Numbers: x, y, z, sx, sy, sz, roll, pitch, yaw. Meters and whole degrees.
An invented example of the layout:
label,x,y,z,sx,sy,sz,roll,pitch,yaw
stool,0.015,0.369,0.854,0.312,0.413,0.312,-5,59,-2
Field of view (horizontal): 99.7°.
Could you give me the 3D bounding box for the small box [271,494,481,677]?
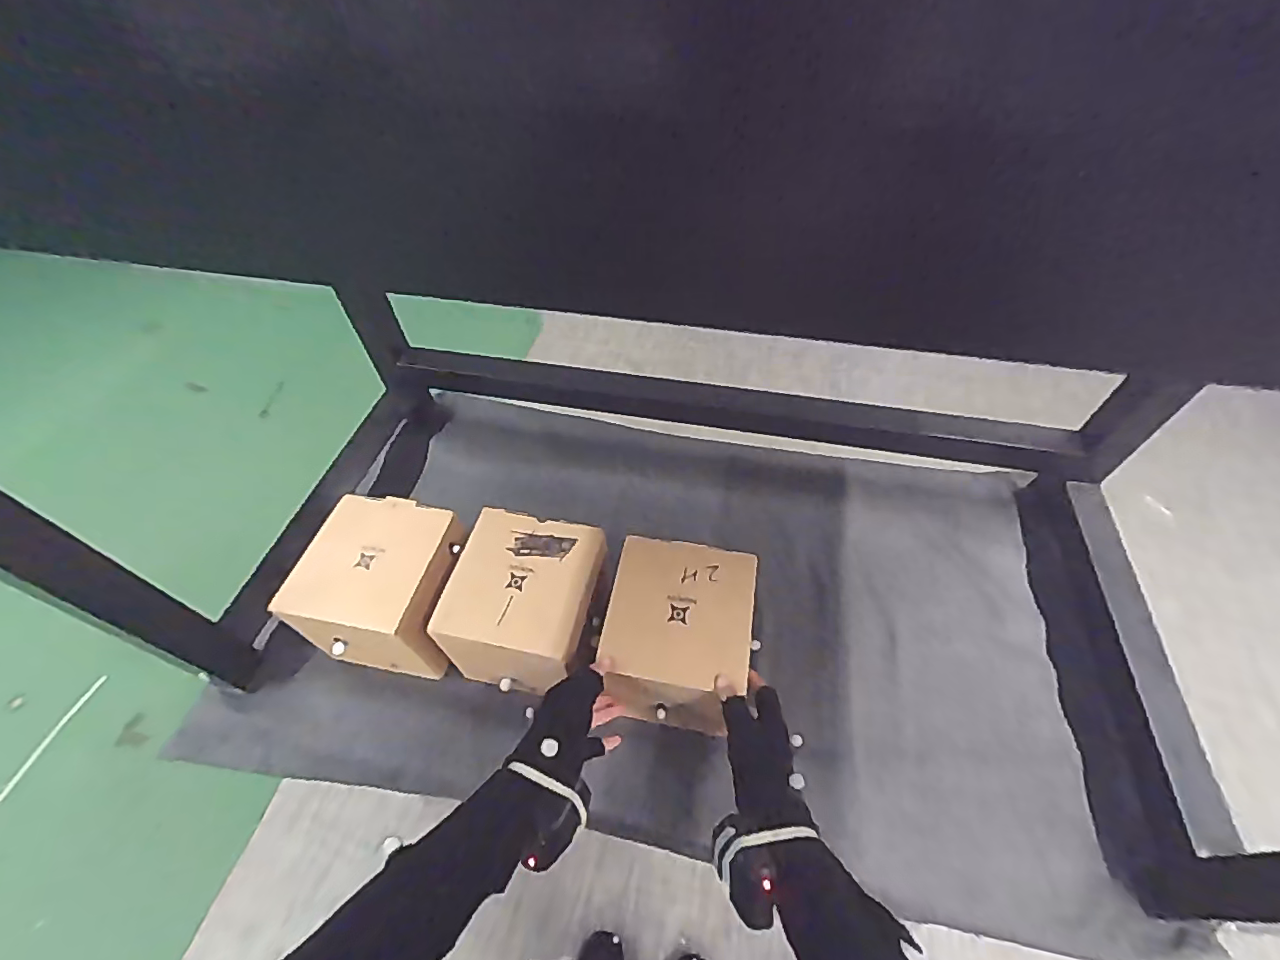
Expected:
label,x,y,z,sx,sy,sz,roll,pitch,yaw
small box,-0.335,0.147,0.734,0.168,0.176,0.179,8,52,8
